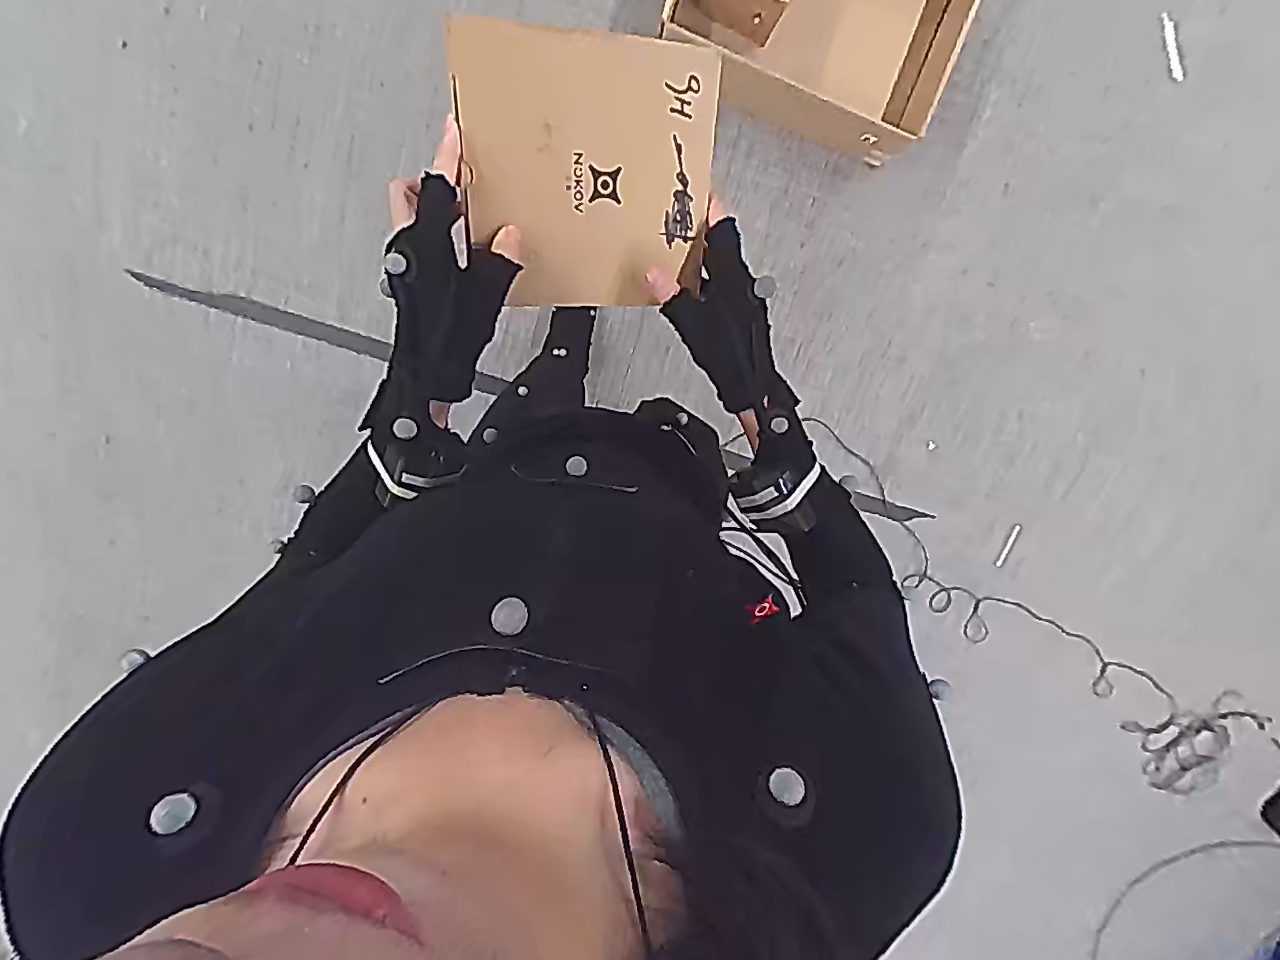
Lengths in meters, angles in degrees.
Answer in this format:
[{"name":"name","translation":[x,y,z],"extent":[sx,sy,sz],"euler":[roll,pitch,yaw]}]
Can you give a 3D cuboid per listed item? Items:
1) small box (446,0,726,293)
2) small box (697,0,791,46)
[{"name":"small box","translation":[-0.052,-0.247,0.433],"extent":[0.179,0.176,0.168],"euler":[-4,117,-16]},{"name":"small box","translation":[0.239,-1.071,1.141],"extent":[0.179,0.176,0.168],"euler":[20,101,-9]}]
